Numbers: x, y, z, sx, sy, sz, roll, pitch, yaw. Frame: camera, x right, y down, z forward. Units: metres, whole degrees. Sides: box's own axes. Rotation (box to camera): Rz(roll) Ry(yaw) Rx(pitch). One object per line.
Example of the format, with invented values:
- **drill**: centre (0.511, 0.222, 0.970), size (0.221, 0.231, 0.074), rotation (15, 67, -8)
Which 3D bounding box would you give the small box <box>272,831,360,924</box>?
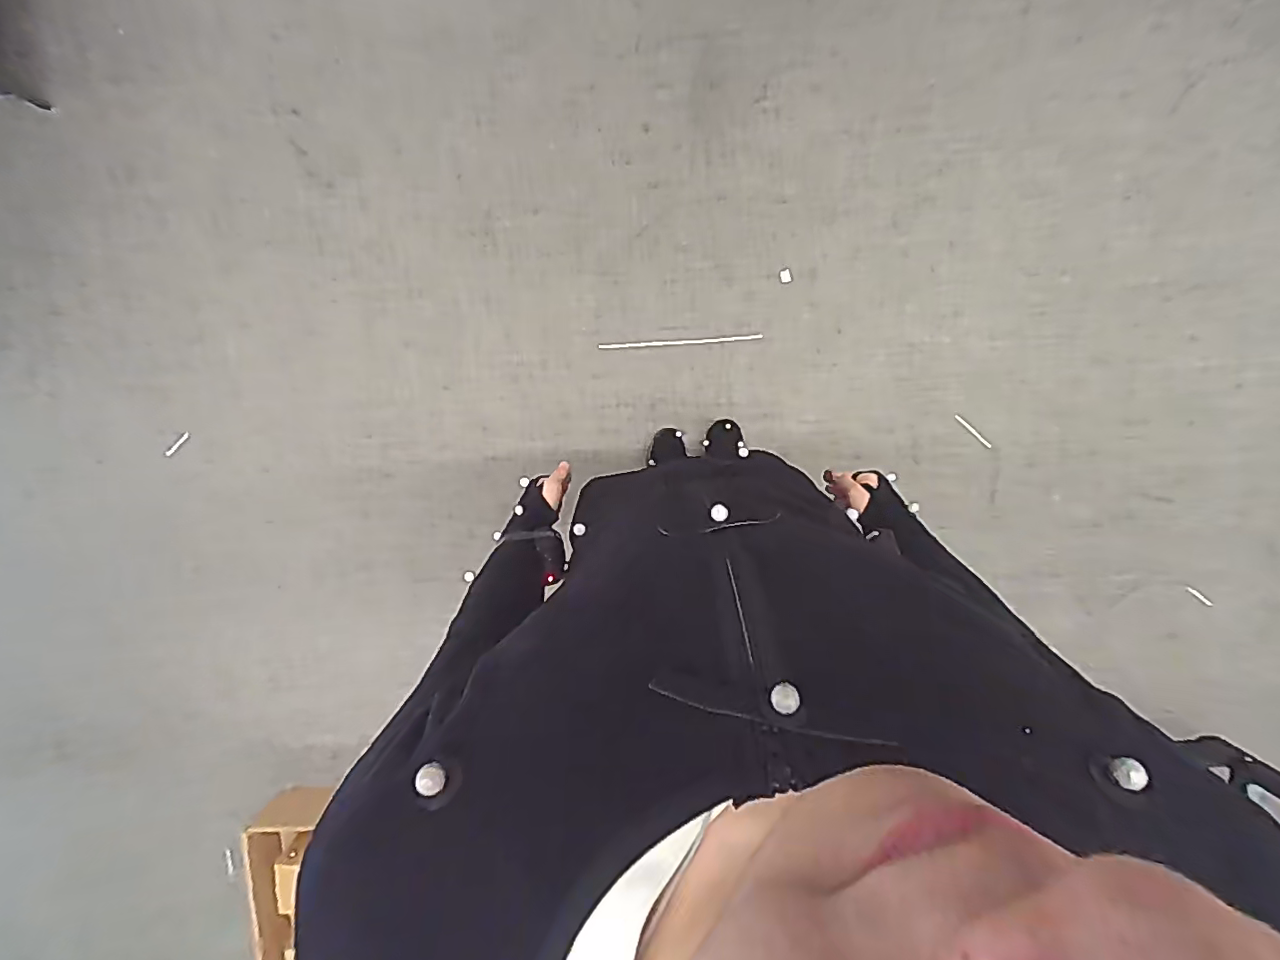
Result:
- **small box**: centre (-0.984, 1.214, 1.660), size (0.179, 0.176, 0.168), rotation (0, 97, 1)
